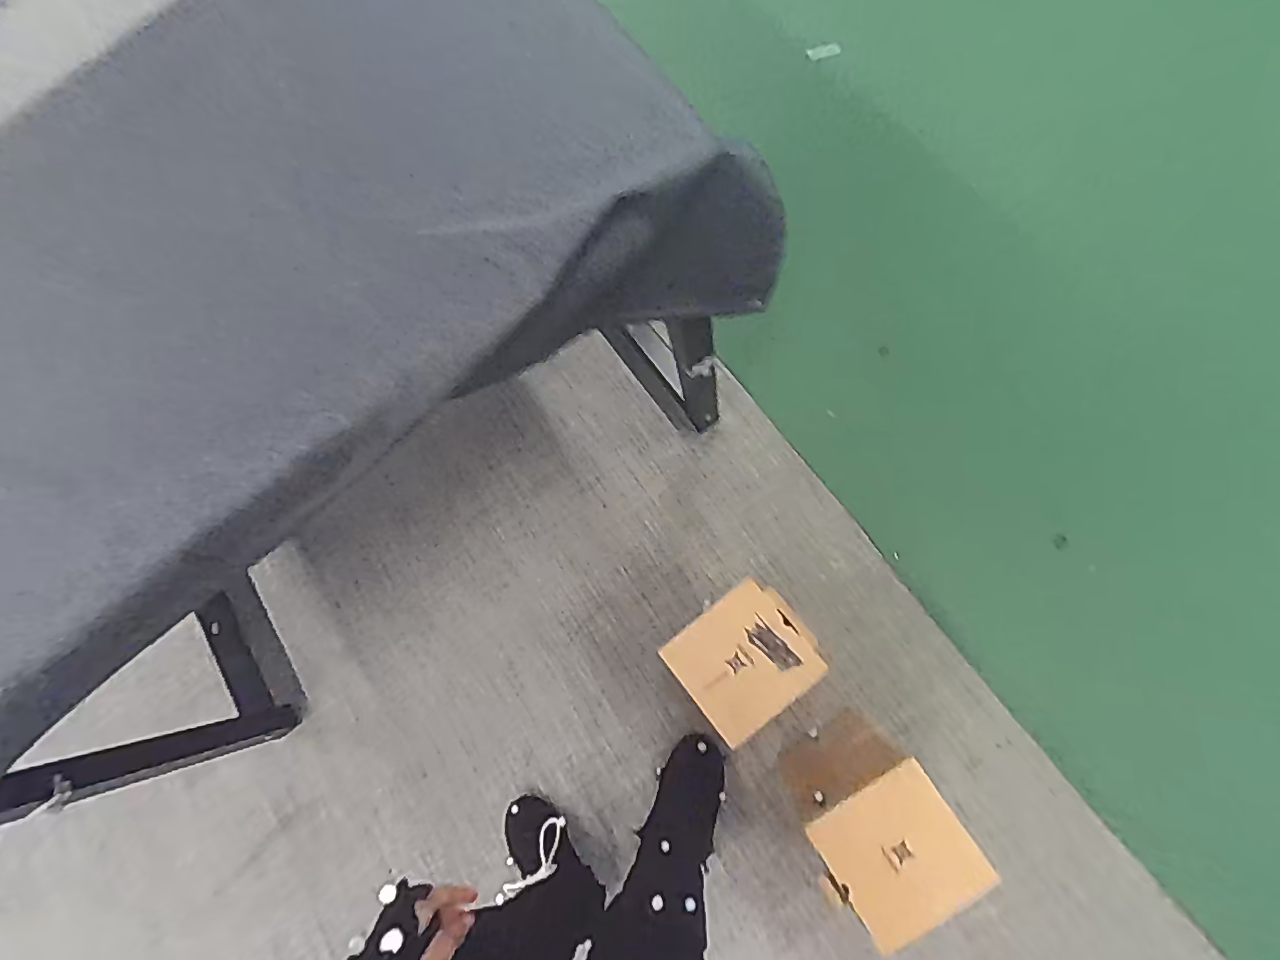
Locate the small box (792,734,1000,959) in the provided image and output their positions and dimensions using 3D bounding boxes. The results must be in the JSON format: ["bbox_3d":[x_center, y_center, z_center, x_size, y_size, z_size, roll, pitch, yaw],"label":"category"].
[{"bbox_3d":[0.334,0.485,0.749,0.179,0.176,0.168,-34,75,0],"label":"small box"}]

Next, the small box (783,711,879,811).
[{"bbox_3d":[0.356,0.519,0.907,0.179,0.176,0.168,-35,75,2],"label":"small box"}]

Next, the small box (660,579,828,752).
[{"bbox_3d":[0.153,0.271,0.827,0.179,0.176,0.168,-40,73,-1],"label":"small box"}]
